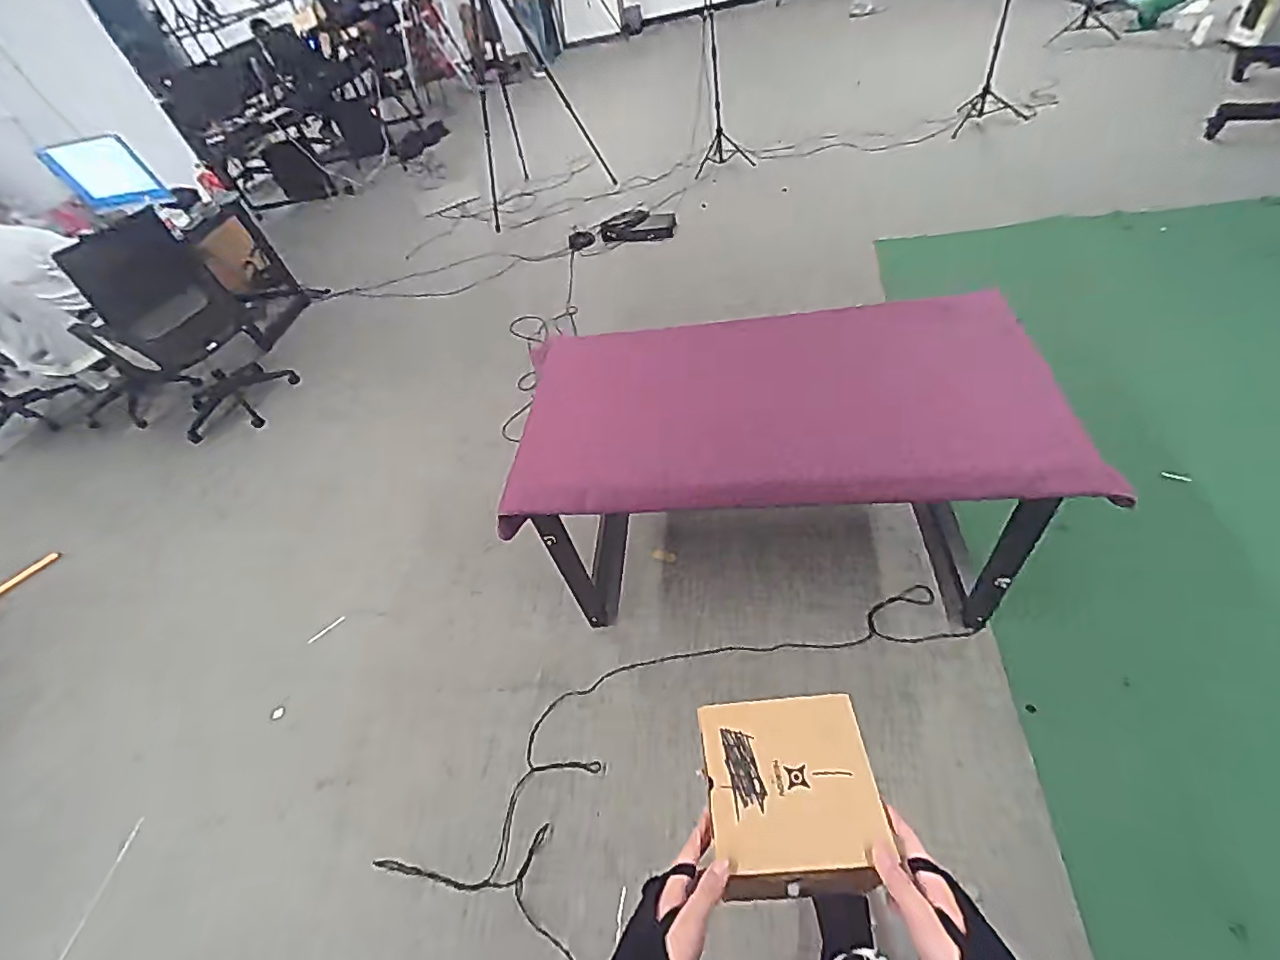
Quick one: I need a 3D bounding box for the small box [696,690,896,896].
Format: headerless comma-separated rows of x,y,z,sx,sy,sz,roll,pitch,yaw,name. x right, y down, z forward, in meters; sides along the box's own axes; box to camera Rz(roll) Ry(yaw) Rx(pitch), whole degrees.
0.164,0.362,0.622,0.179,0.176,0.168,-6,45,4,small box
